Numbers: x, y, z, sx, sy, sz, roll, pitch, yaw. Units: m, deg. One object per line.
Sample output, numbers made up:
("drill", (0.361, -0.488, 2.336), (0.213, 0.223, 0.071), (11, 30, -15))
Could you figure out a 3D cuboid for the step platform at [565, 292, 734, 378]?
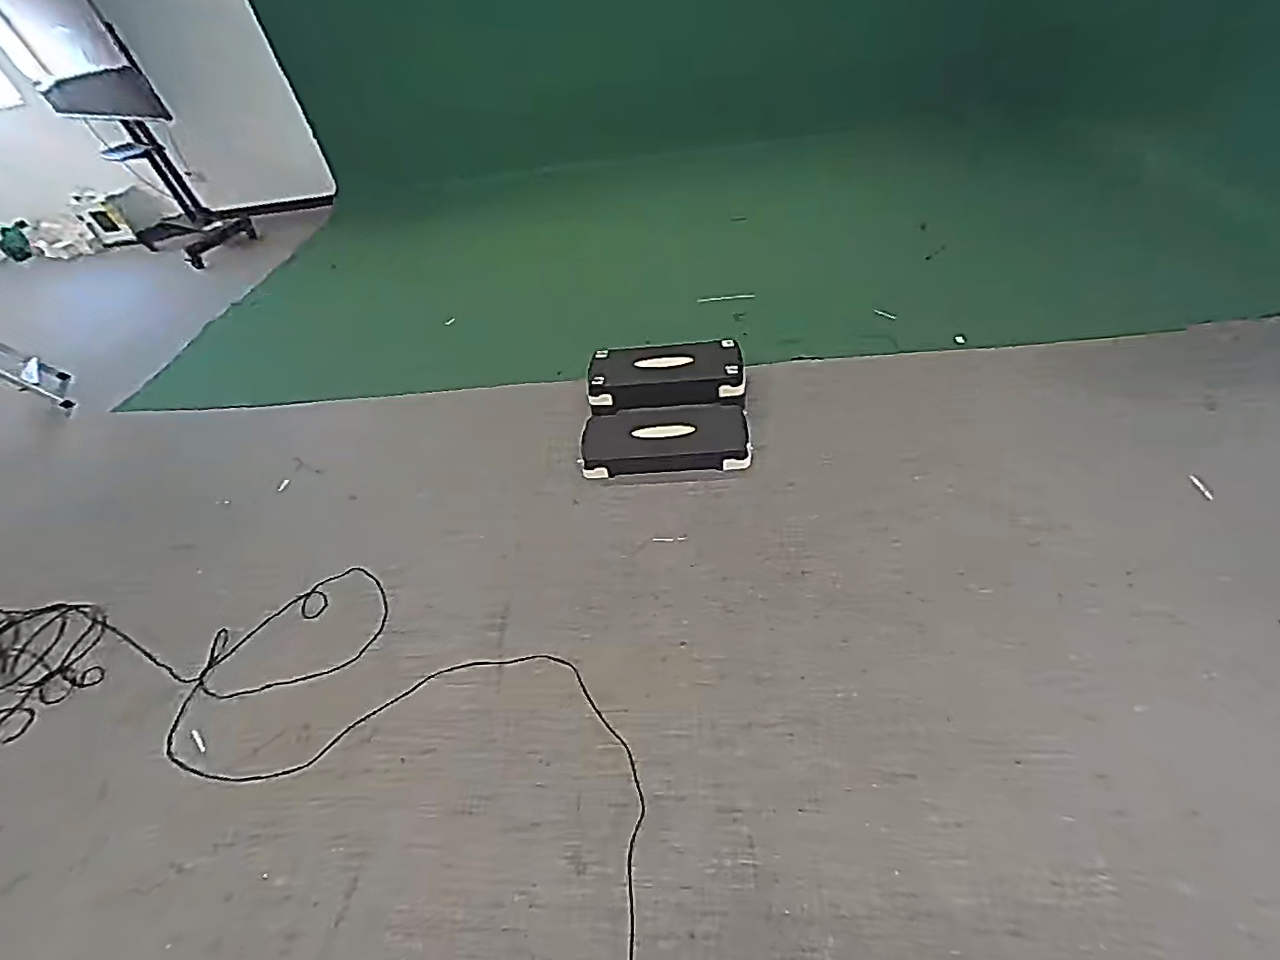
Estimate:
("step platform", (0.045, -0.603, 2.252), (0.684, 0.204, 0.286), (-4, 47, 7))
